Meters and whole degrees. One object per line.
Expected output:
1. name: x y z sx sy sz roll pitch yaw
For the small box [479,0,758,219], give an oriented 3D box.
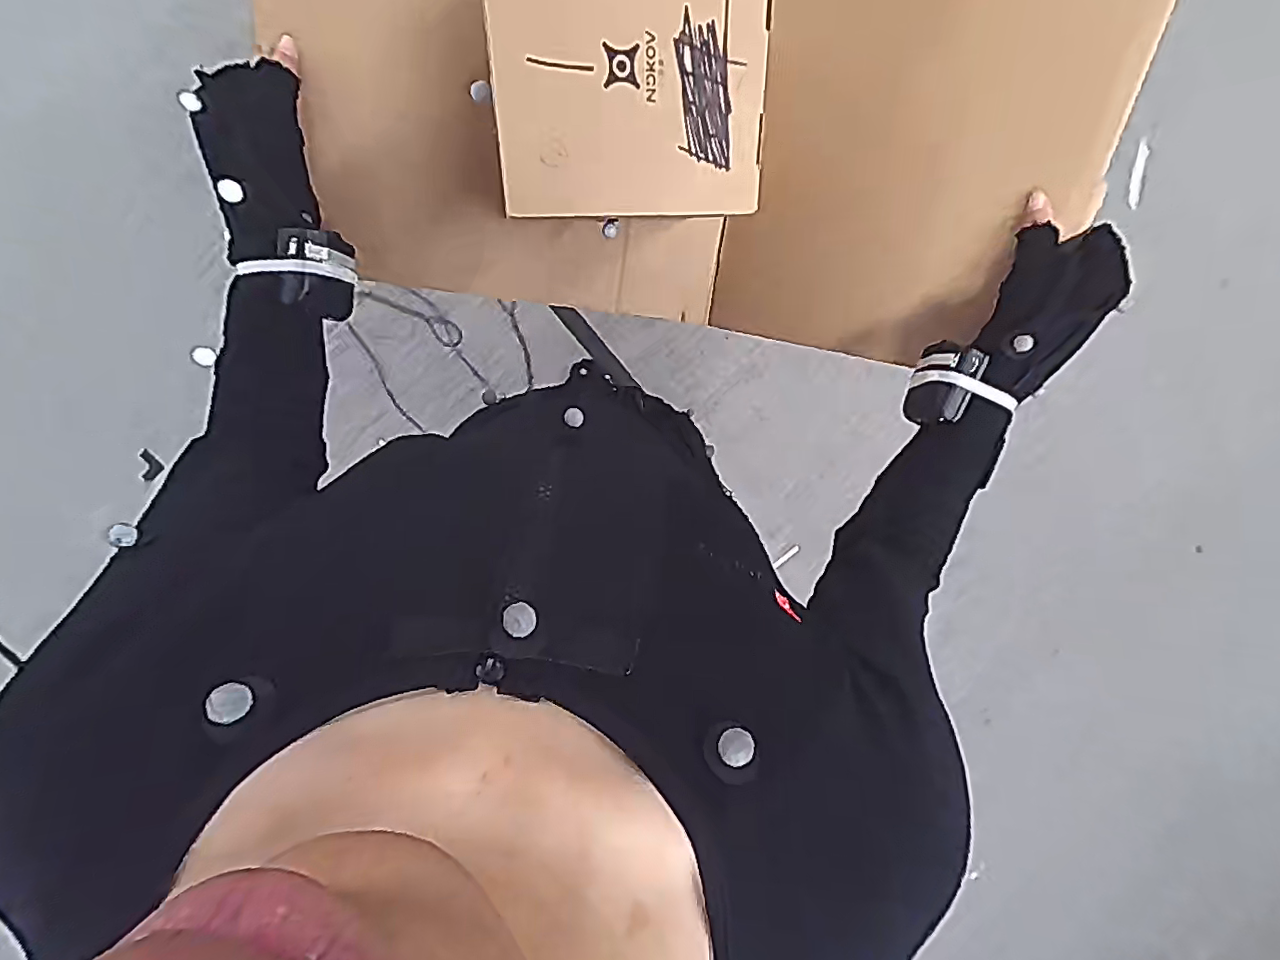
1. small box: -0.025 -0.294 0.414 0.179 0.176 0.168 -7 116 -10
